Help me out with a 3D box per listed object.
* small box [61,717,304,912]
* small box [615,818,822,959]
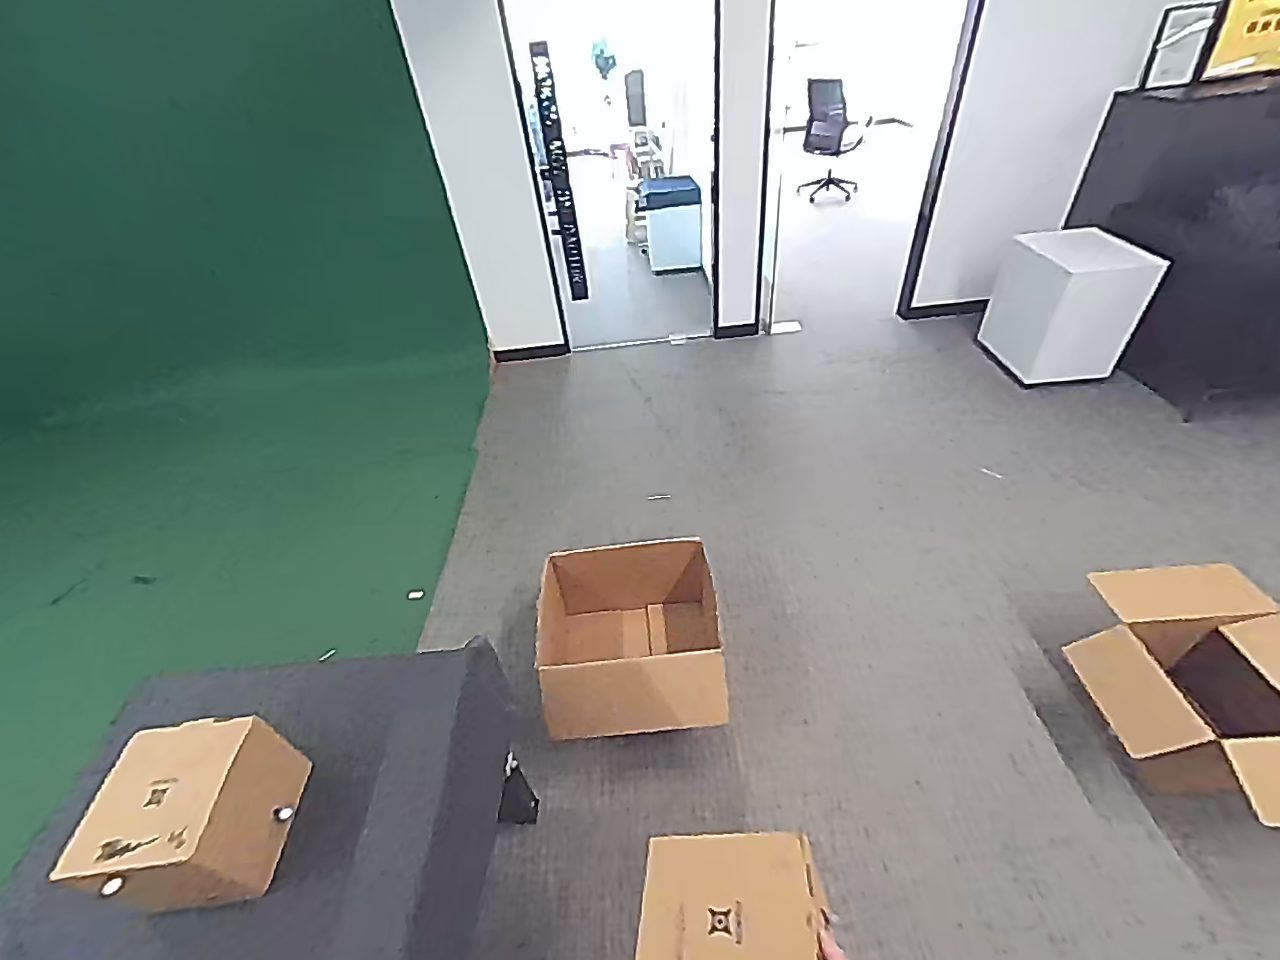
[{"bbox_3d":[-0.603,0.461,0.750,0.168,0.176,0.179,-7,41,-4],"label":"small box"},{"bbox_3d":[0.088,0.478,0.547,0.179,0.176,0.168,-14,23,15],"label":"small box"}]
